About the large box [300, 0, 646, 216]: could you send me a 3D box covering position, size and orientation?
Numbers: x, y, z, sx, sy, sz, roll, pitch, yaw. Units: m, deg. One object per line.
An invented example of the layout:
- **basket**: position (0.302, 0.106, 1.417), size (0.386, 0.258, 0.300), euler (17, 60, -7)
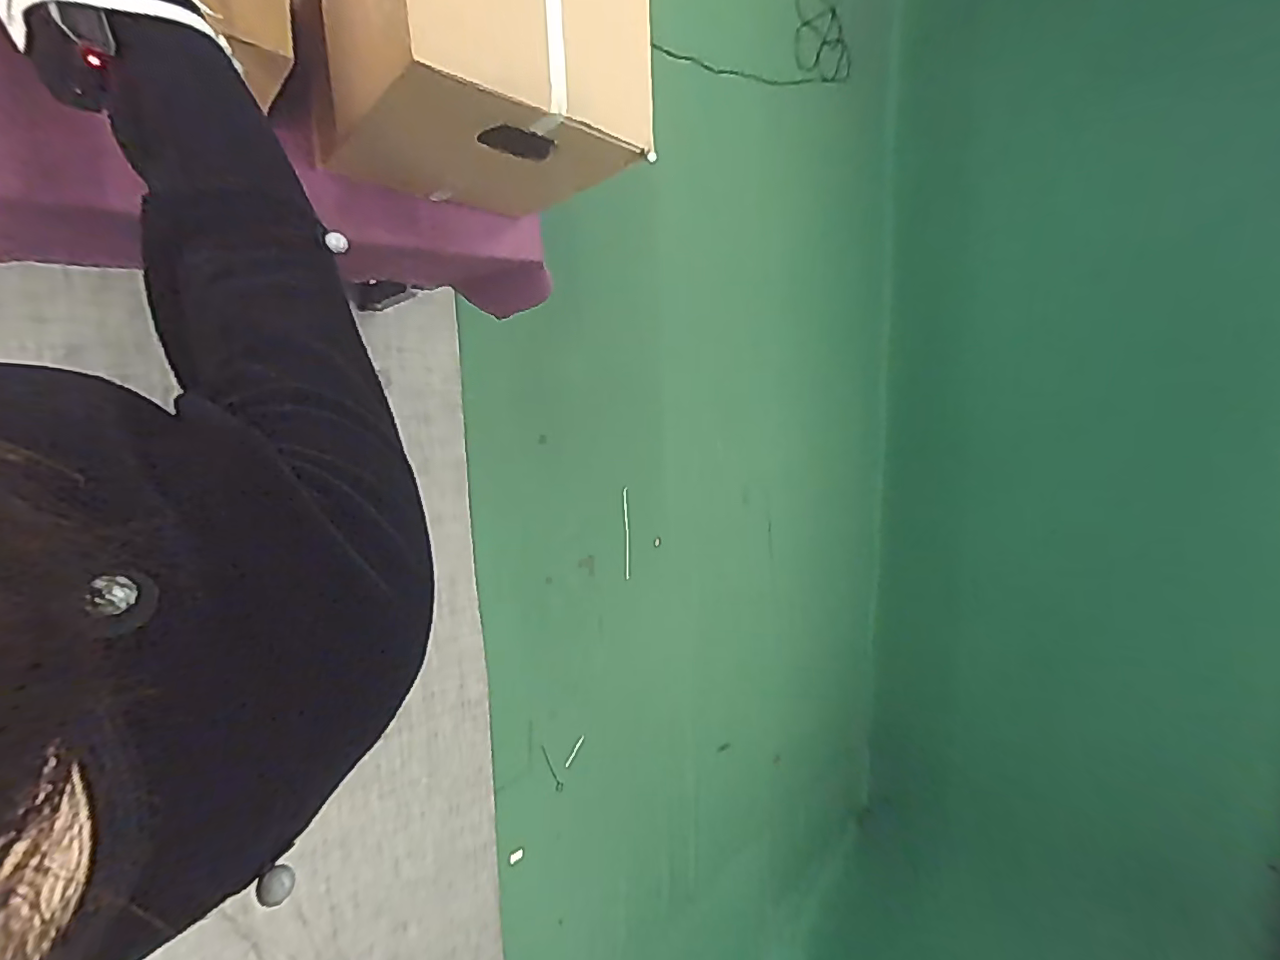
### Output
- **large box**: position (-0.212, -0.606, 0.675), size (0.320, 0.320, 0.408), euler (-11, 103, -44)
